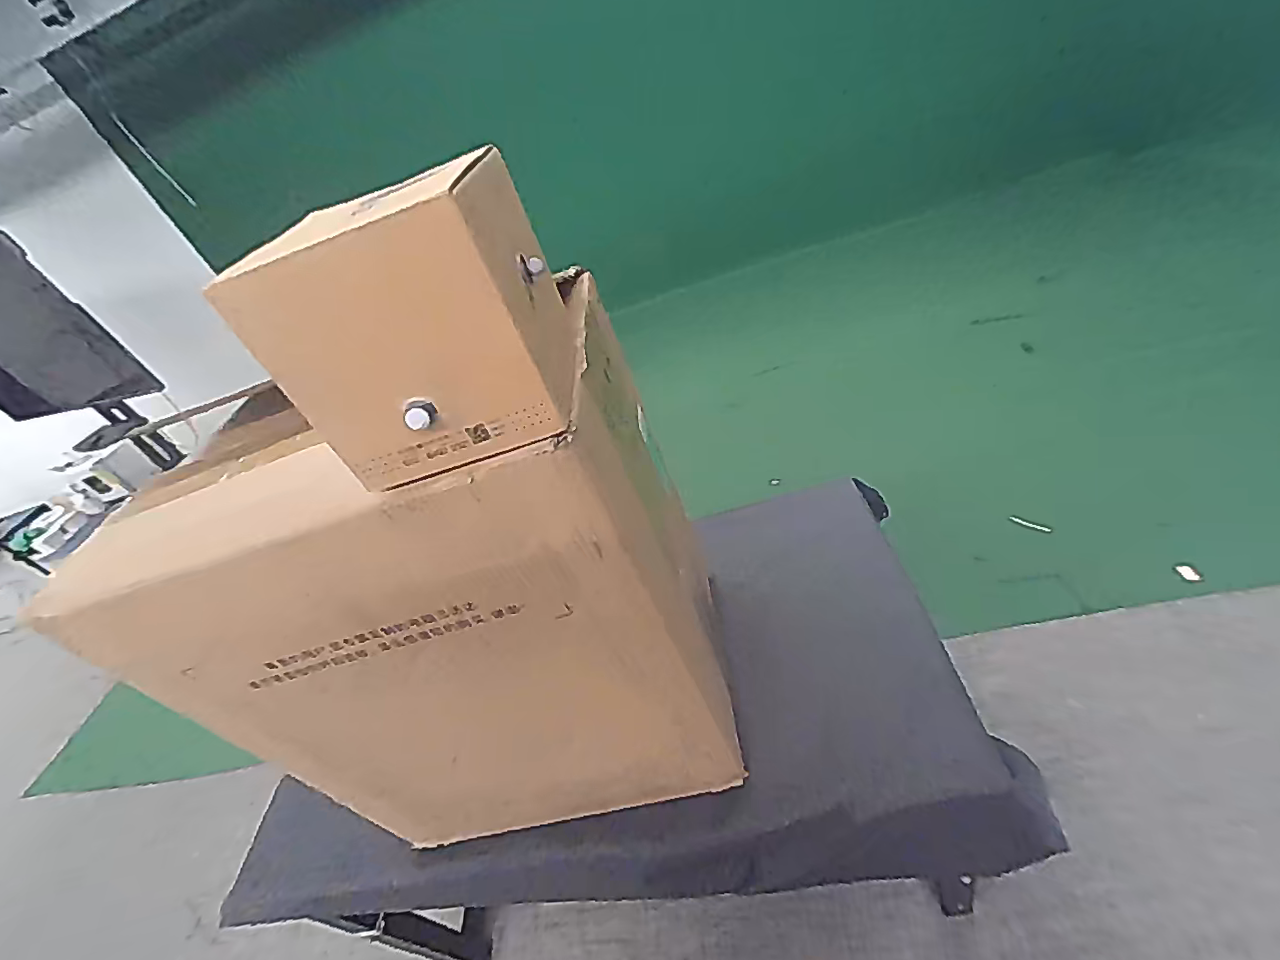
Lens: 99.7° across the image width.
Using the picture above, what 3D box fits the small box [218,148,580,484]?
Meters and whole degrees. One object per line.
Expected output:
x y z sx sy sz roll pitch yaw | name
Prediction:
-0.153 -0.126 0.420 0.168 0.176 0.179 -16 40 9 | small box
